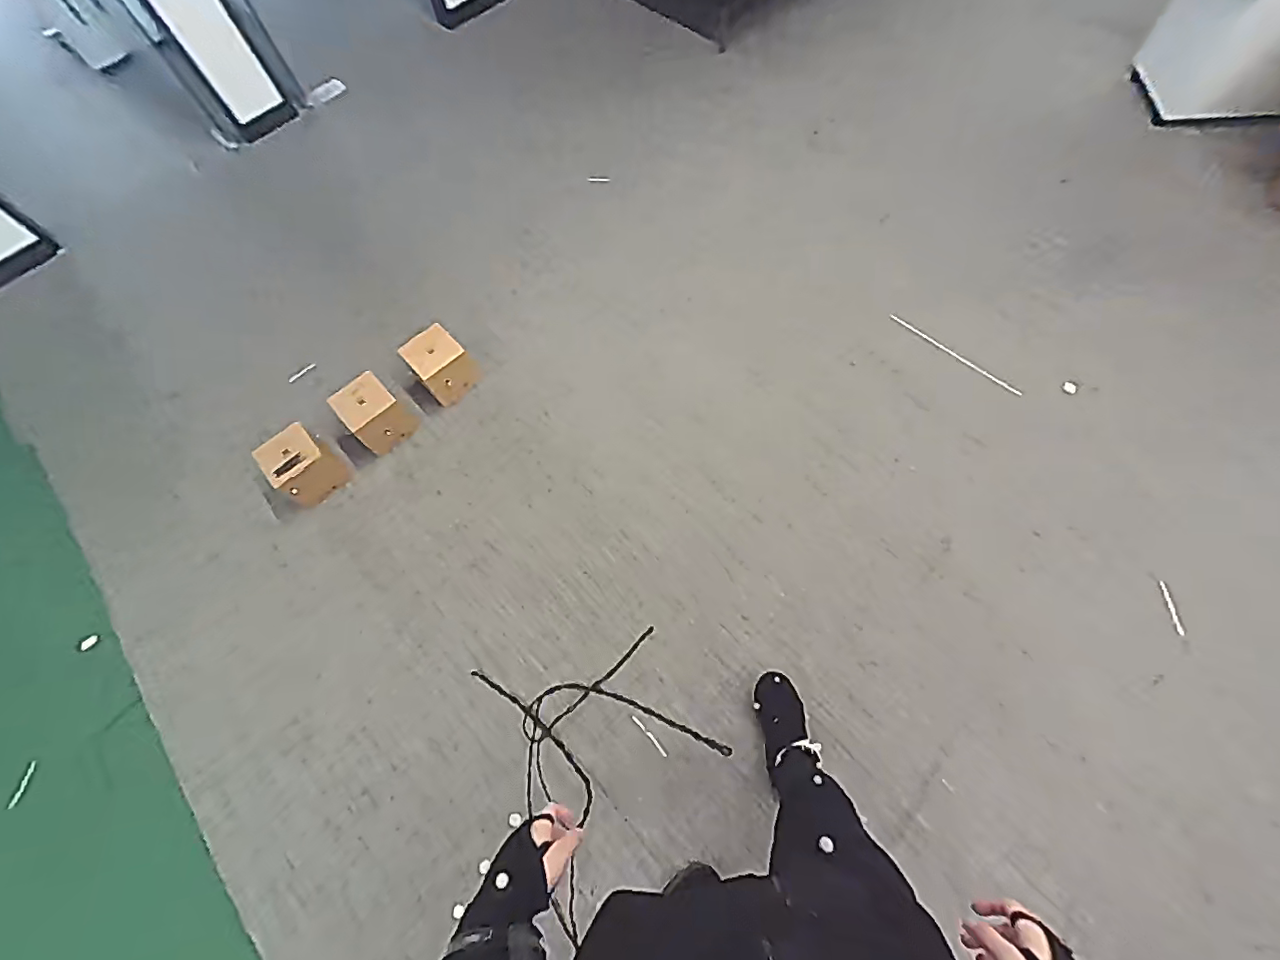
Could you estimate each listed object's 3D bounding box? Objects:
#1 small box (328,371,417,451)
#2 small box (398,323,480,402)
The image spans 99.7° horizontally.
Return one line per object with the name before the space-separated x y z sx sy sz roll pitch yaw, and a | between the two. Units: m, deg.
small box | -0.872 -0.218 1.783 0.168 0.176 0.179 -41 68 -13
small box | -0.678 -0.391 1.847 0.168 0.176 0.179 -41 68 -13
